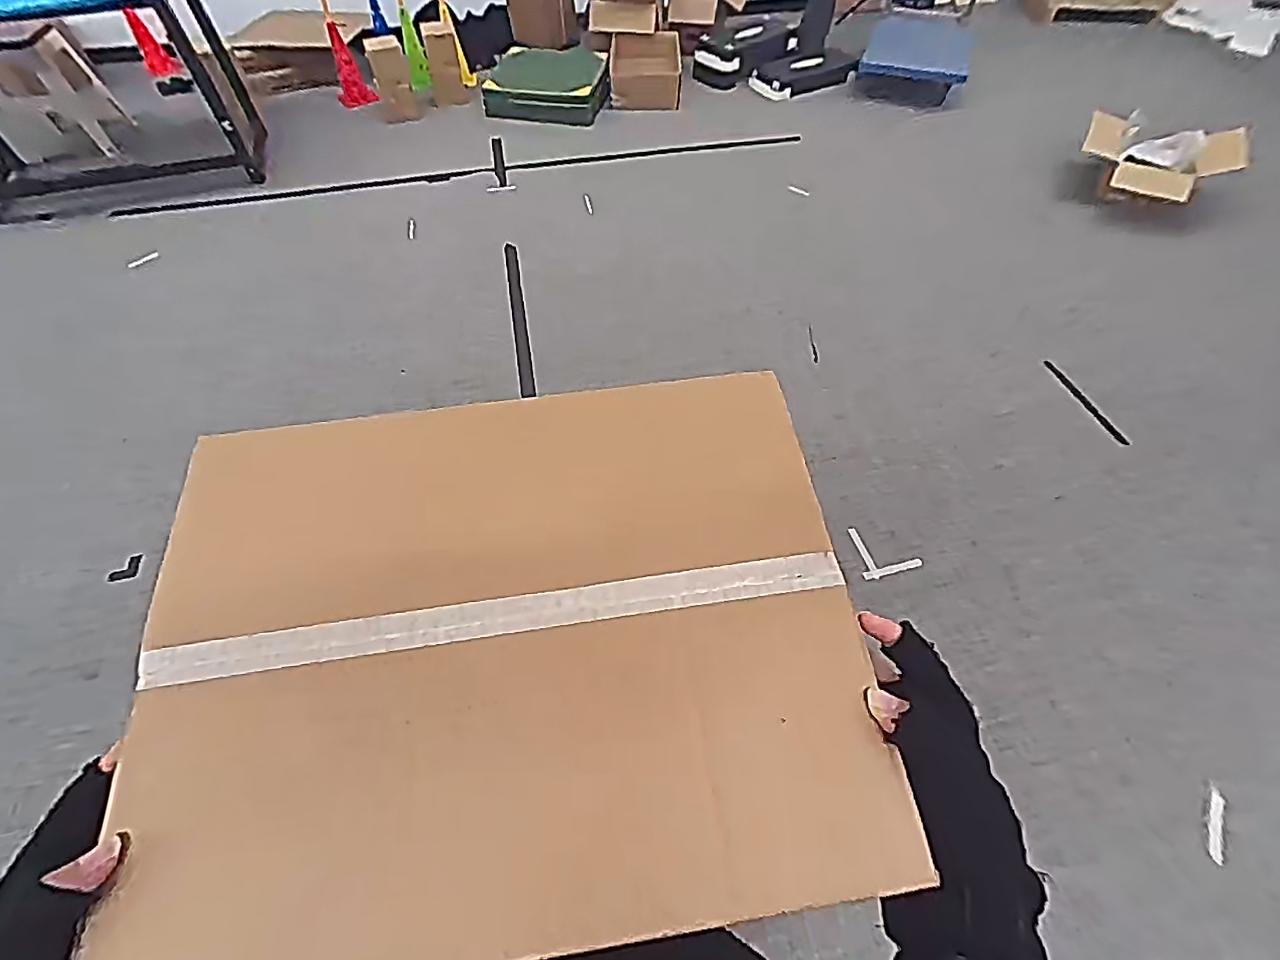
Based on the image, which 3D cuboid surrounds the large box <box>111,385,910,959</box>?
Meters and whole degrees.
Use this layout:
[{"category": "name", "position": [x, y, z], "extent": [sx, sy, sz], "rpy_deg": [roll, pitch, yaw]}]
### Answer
[{"category": "large box", "position": [-0.078, 0.156, 0.463], "extent": [0.408, 0.320, 0.320], "rpy_deg": [-7, 64, -4]}]
